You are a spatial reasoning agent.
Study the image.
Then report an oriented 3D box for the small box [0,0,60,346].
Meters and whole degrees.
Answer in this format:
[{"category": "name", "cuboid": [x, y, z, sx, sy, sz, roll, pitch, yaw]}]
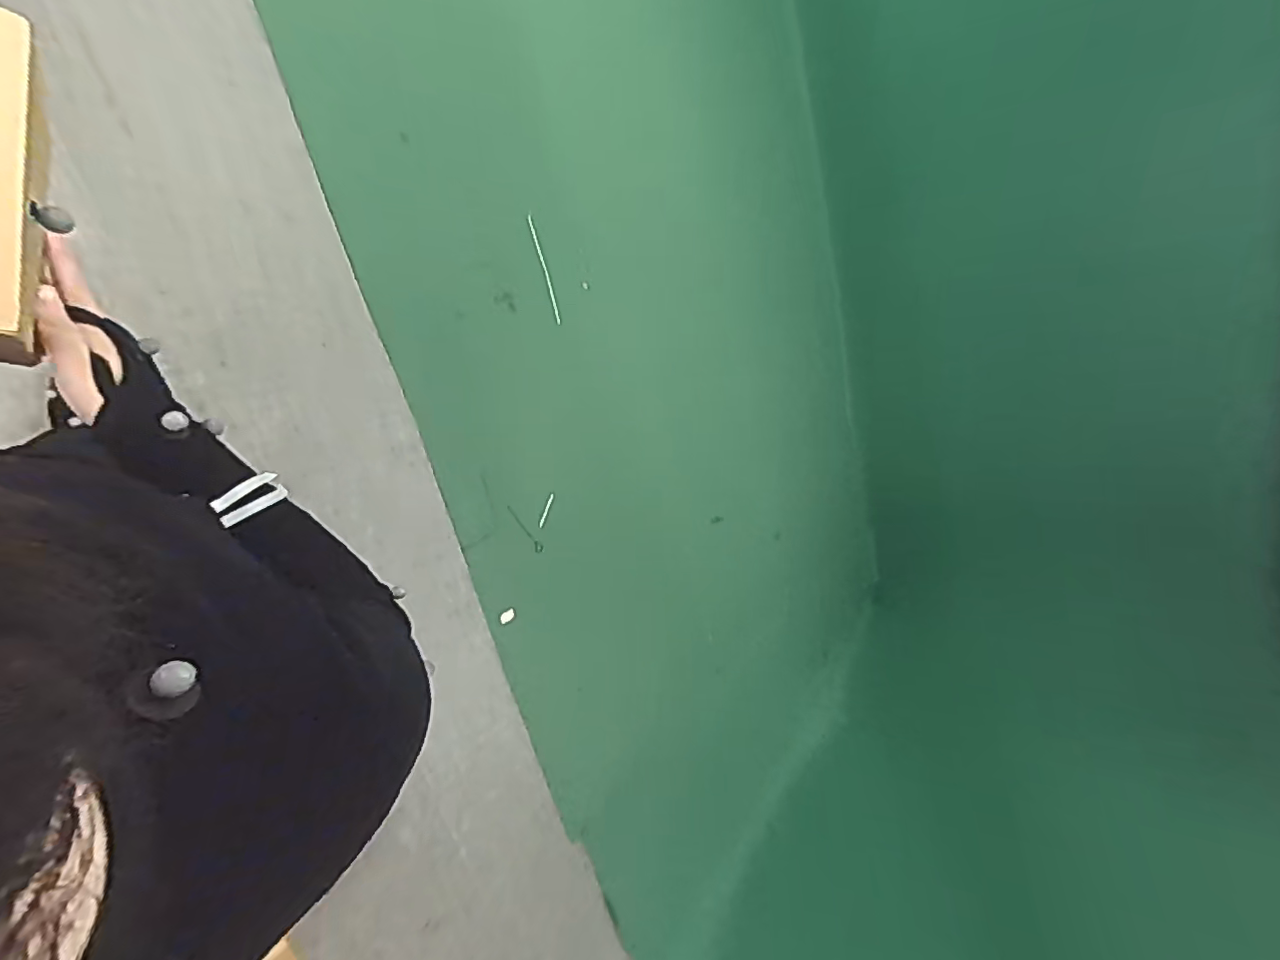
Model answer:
[{"category": "small box", "cuboid": [-0.453, -0.185, 0.306, 0.168, 0.176, 0.179, 1, 93, -46]}]
